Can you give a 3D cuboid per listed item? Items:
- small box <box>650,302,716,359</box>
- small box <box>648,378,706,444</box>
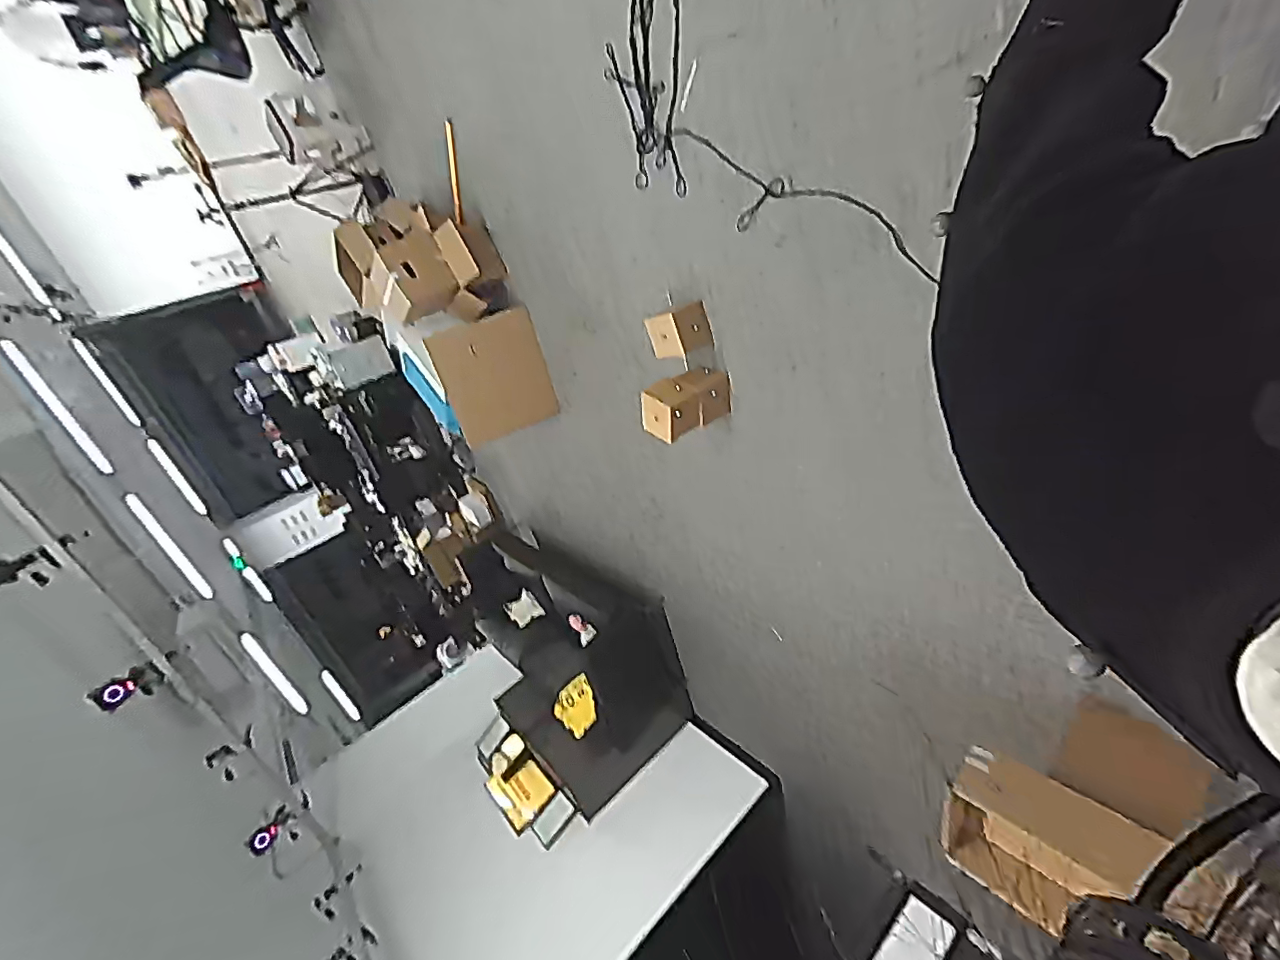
[{"bbox_3d":[0.177,-0.589,2.130,0.179,0.176,0.168,10,127,54],"label":"small box"},{"bbox_3d":[0.149,-0.278,2.153,0.168,0.176,0.179,34,143,37],"label":"small box"}]
